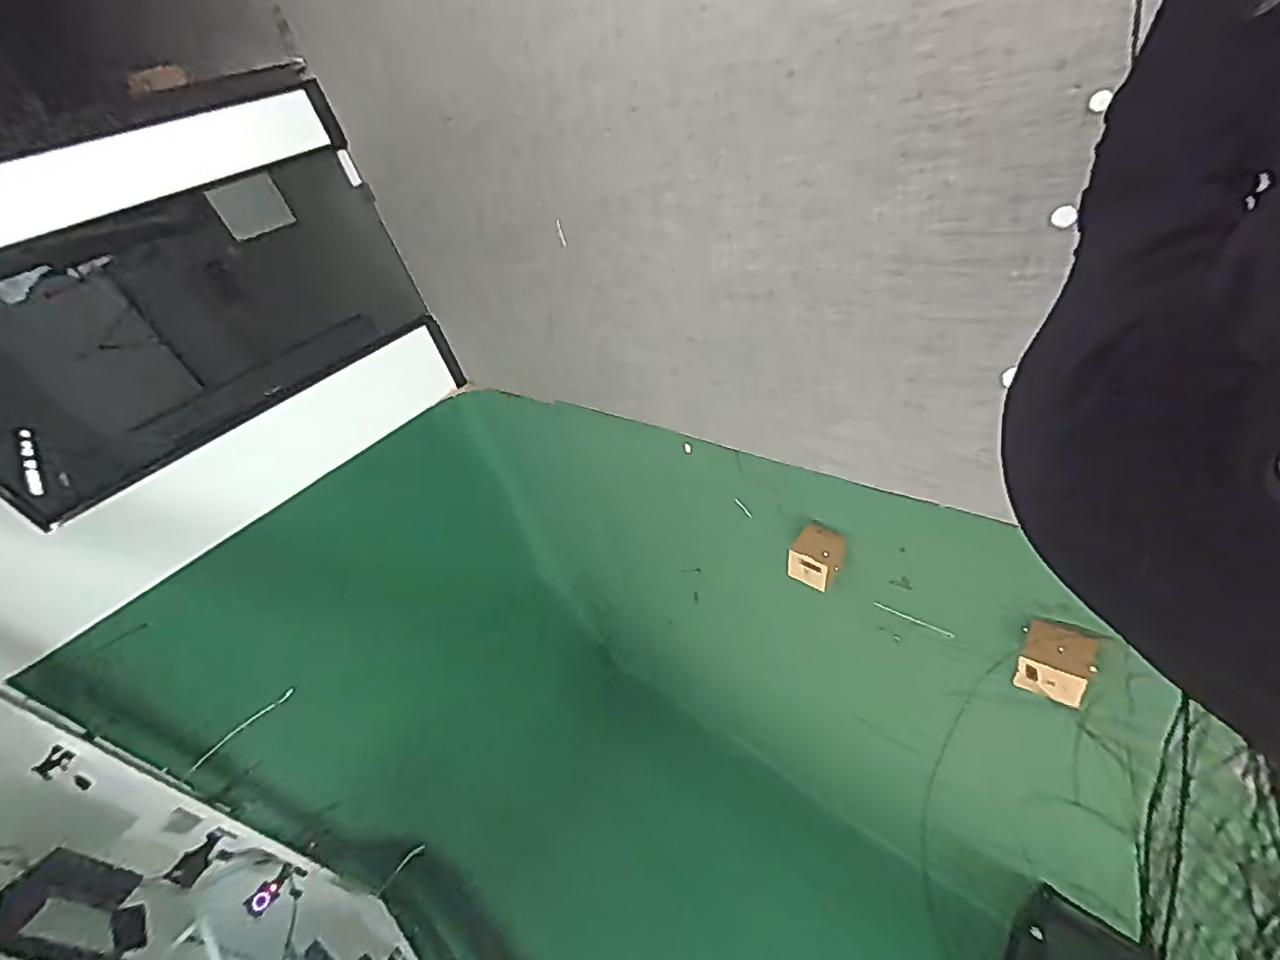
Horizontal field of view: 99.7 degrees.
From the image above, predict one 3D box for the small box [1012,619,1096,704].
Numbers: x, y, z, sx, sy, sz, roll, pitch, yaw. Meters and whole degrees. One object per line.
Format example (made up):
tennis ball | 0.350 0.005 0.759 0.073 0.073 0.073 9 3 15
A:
small box | 1.353 0.584 1.768 0.179 0.176 0.168 16 139 39
